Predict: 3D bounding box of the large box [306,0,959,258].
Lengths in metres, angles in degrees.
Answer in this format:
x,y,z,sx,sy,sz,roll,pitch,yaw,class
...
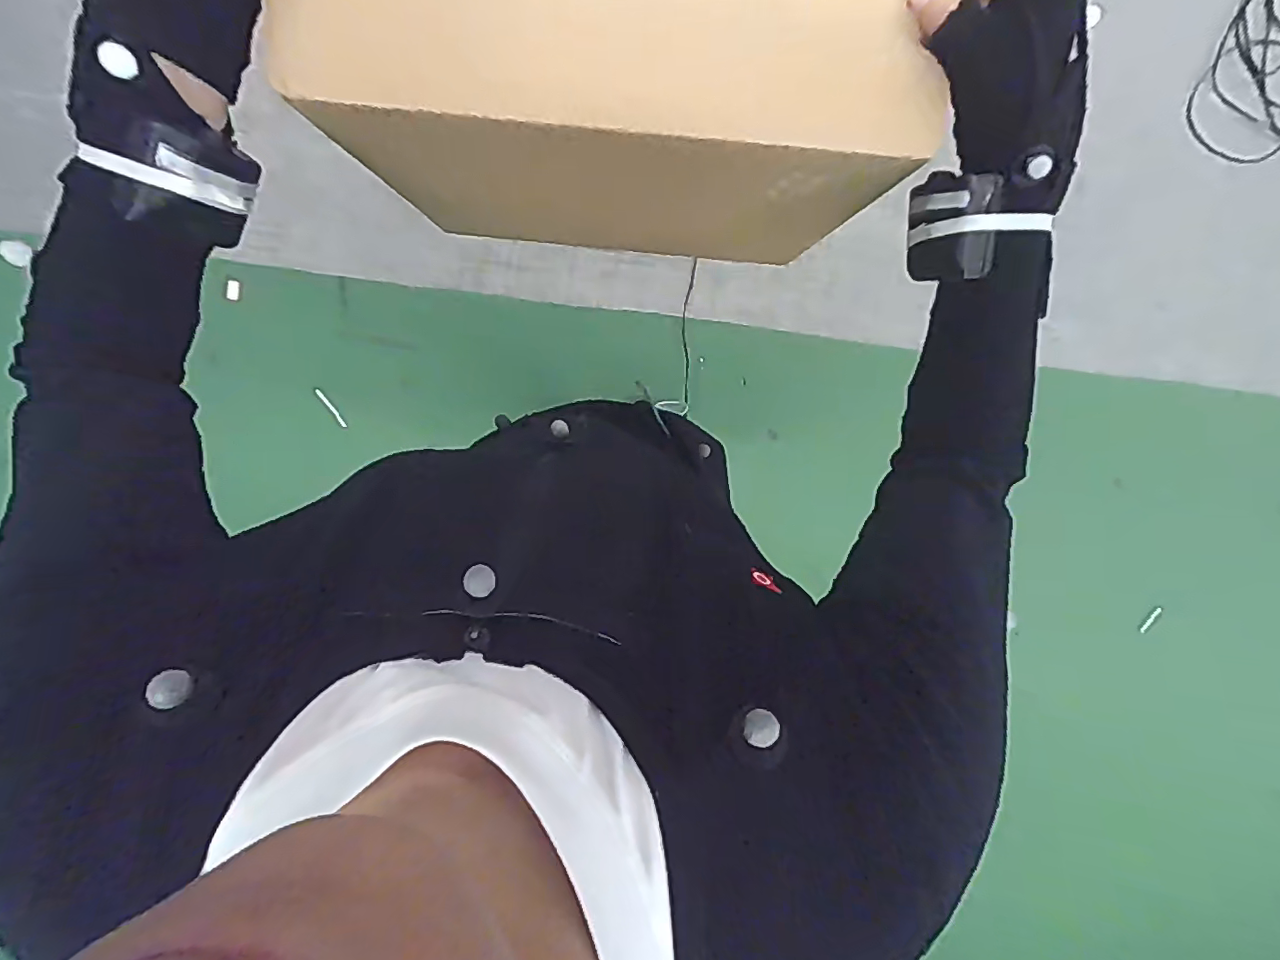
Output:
x,y,z,sx,sy,sz,roll,pitch,yaw,class
-0.003,-0.396,0.461,0.408,0.320,0.320,4,100,-4,large box
